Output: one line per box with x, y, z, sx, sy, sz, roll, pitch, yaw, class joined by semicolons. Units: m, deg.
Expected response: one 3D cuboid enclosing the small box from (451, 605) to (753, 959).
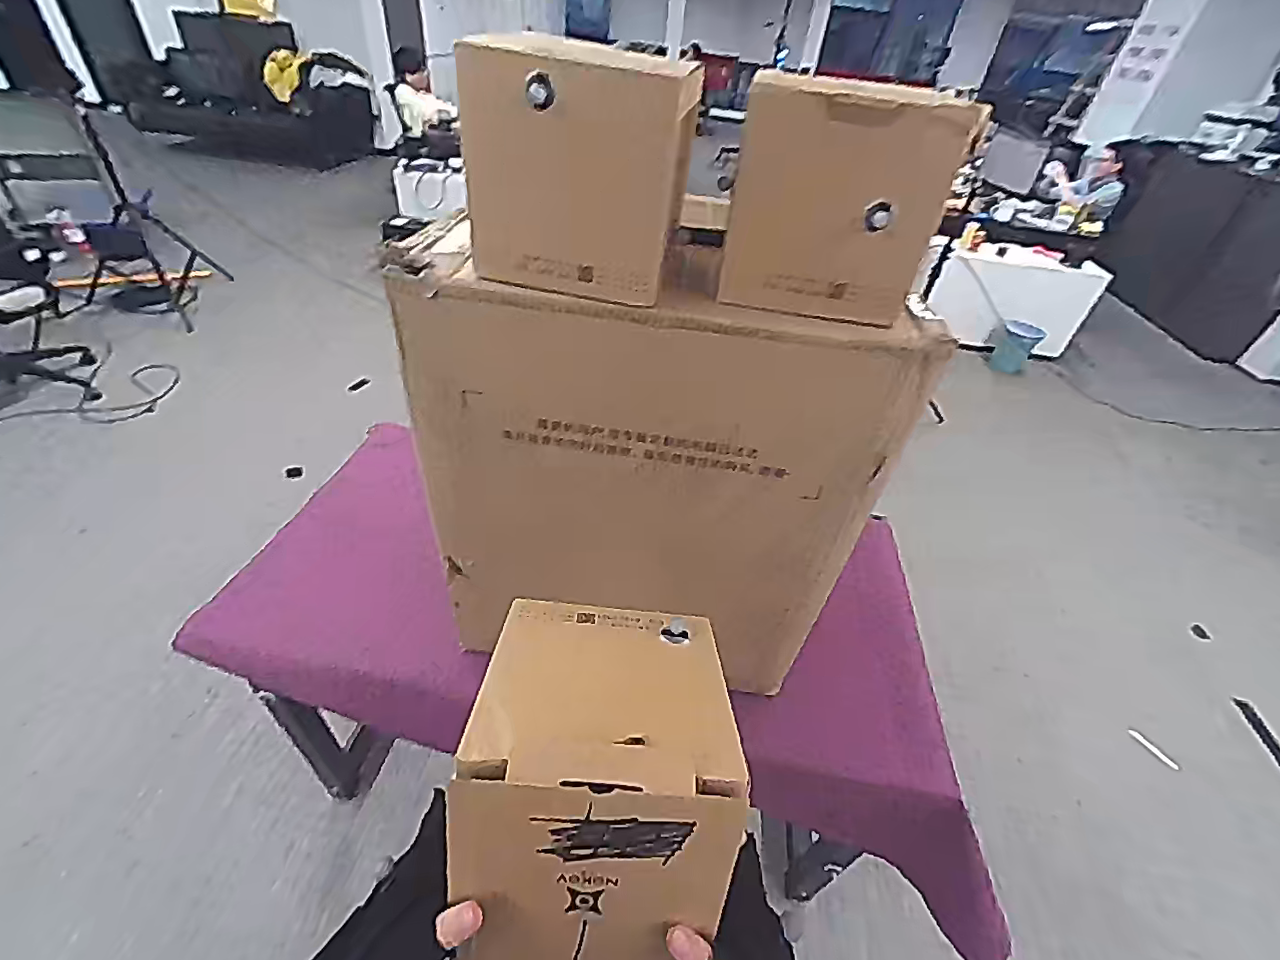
-0.030;0.210;0.395;0.168;0.179;0.176;6;17;-3;small box

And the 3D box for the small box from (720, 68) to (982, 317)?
0.172;-0.267;0.502;0.168;0.176;0.179;11;39;5;small box
